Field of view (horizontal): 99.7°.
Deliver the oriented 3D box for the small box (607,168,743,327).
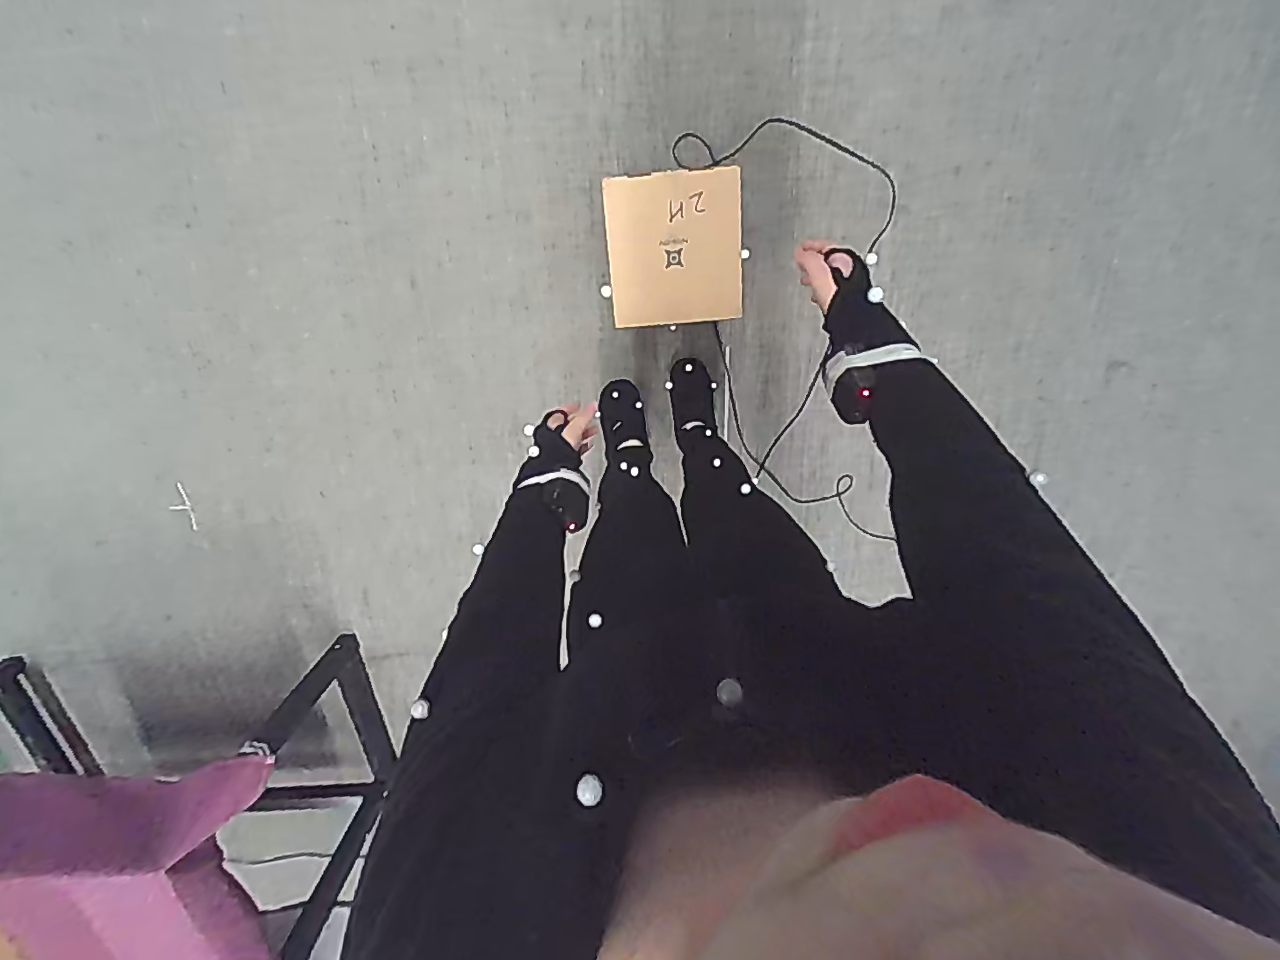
[{"bbox_3d":[0.050,-0.315,0.748,0.168,0.176,0.179,-3,111,4],"label":"small box"}]
